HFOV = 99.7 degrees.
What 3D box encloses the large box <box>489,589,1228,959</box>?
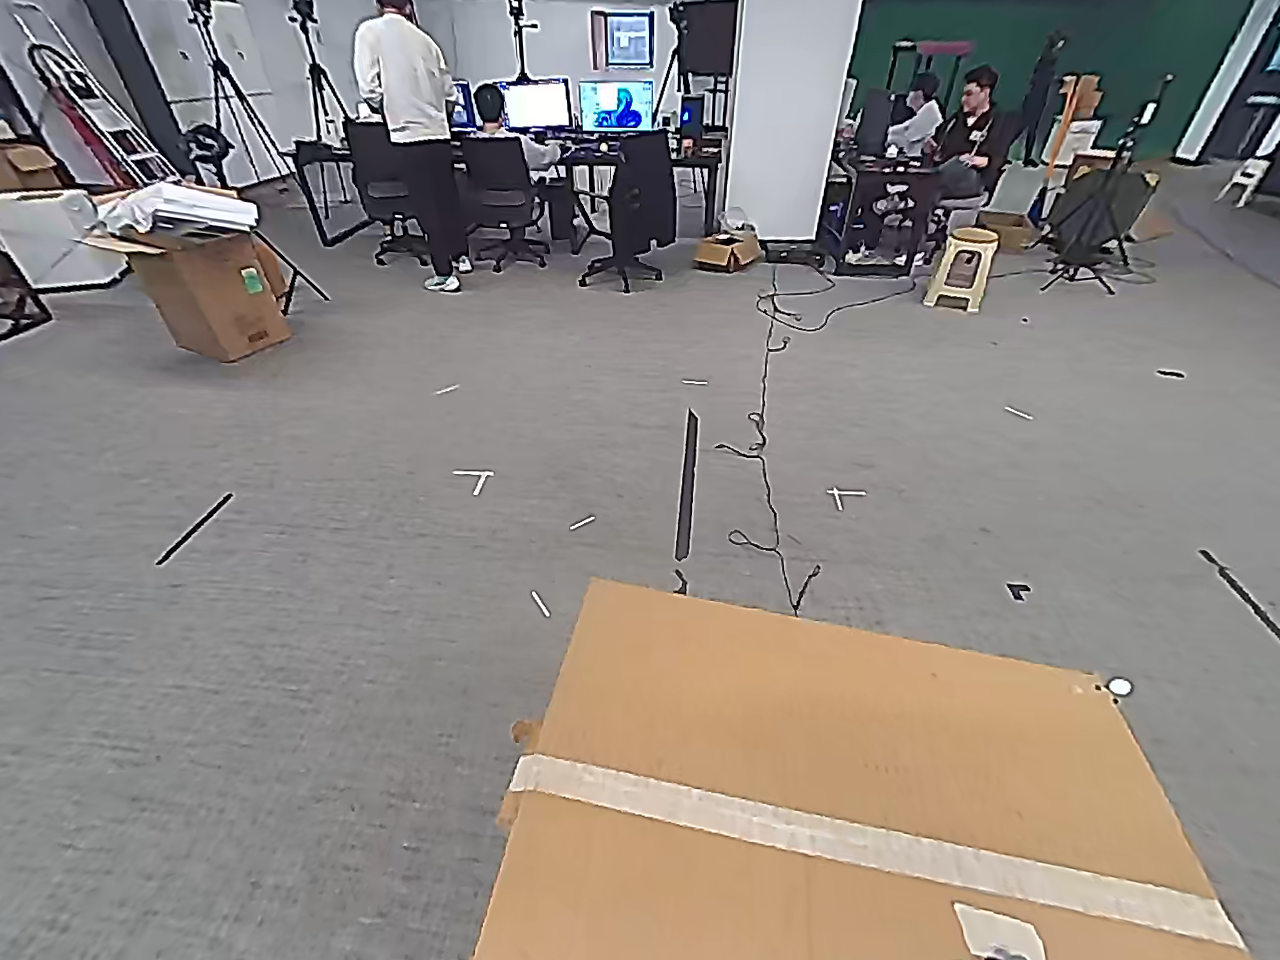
[{"bbox_3d":[0.116,0.332,0.422,0.408,0.320,0.320,11,41,4],"label":"large box"}]
